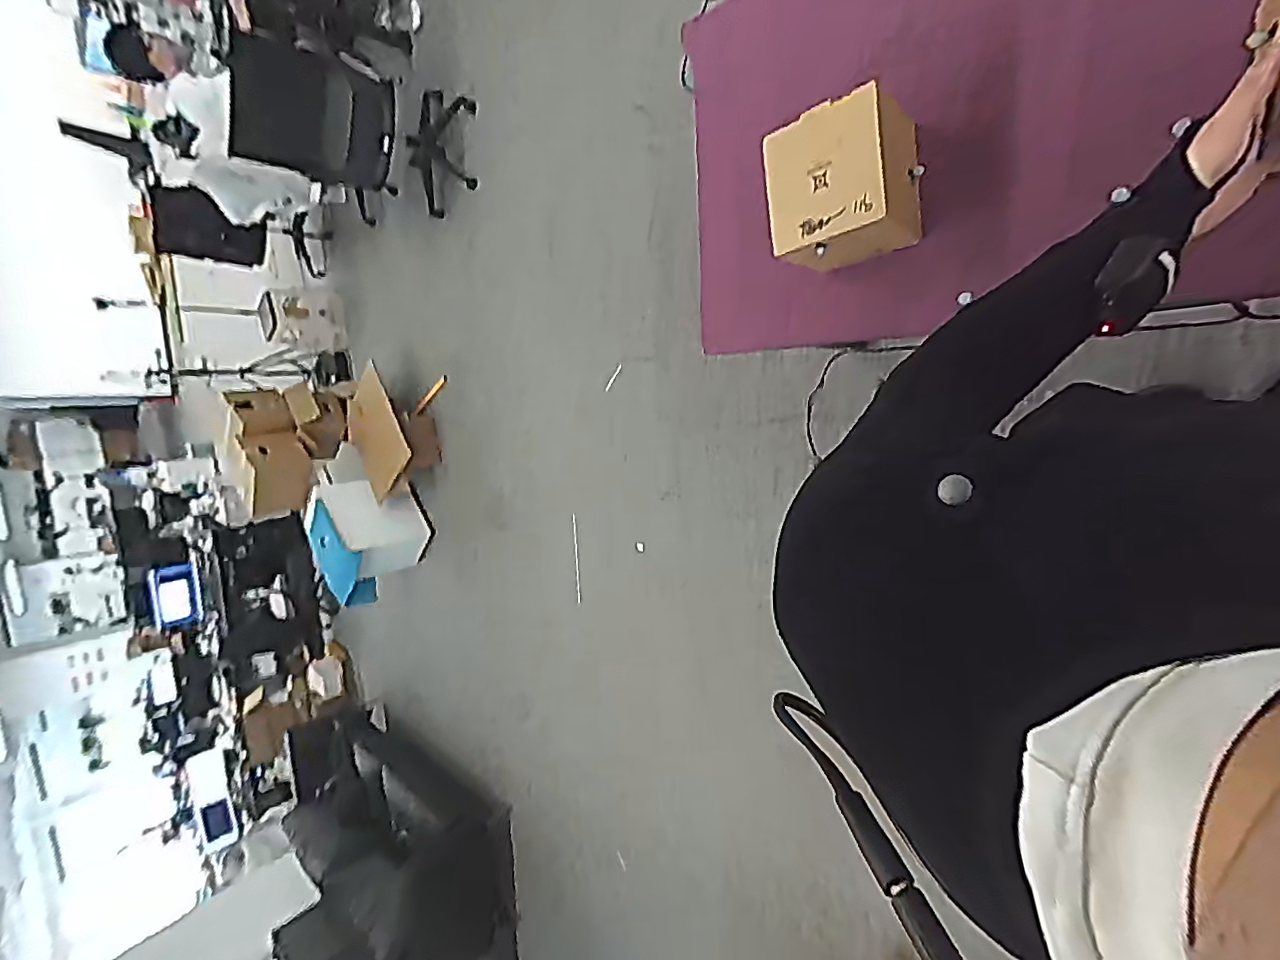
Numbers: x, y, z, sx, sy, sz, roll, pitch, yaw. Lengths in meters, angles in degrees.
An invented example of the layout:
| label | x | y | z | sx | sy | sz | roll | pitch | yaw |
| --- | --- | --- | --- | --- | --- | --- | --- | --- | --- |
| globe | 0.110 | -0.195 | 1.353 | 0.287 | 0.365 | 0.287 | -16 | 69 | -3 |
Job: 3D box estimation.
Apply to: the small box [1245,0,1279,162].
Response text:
| label | x | y | z | sx | sy | sz | roll | pitch | yaw |
| --- | --- | --- | --- | --- | --- | --- | --- | --- | --- |
| small box | 0.677 | -0.414 | 0.484 | 0.168 | 0.176 | 0.179 | 2 | 98 | 43 |

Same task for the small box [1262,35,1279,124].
| label | x | y | z | sx | sy | sz | roll | pitch | yaw |
| --- | --- | --- | --- | --- | --- | --- | --- | --- | --- |
| small box | 0.561 | -0.361 | 0.357 | 0.168 | 0.176 | 0.179 | 17 | 109 | 41 |

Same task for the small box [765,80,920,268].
| label | x | y | z | sx | sy | sz | roll | pitch | yaw |
| --- | --- | --- | --- | --- | --- | --- | --- | --- | --- |
| small box | 0.309 | -0.443 | 0.819 | 0.168 | 0.176 | 0.179 | -3 | 96 | 44 |
